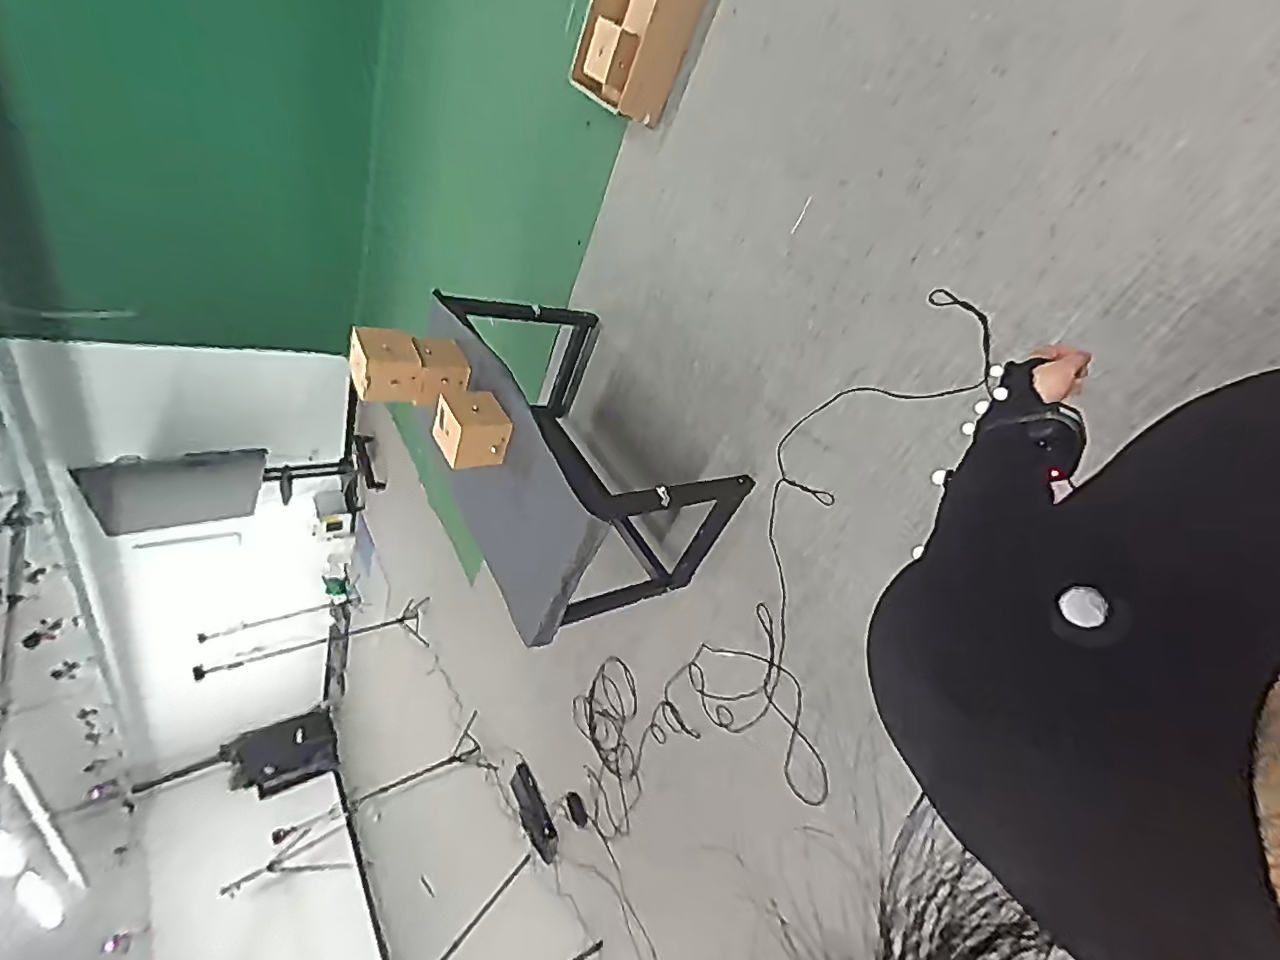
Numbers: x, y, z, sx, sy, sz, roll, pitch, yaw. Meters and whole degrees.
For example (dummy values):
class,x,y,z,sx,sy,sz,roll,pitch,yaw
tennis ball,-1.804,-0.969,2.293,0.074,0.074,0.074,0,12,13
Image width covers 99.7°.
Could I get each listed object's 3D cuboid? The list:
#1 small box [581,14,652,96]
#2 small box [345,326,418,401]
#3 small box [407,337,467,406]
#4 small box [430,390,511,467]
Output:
class,x,y,z,sx,sy,sz,roll,pitch,yaw
small box,-0.085,-1.557,1.990,0.168,0.176,0.179,52,130,29
small box,-0.838,-0.379,1.755,0.179,0.176,0.168,56,133,26
small box,-0.715,-0.376,1.865,0.179,0.176,0.168,55,133,29
small box,-0.527,-0.162,1.679,0.179,0.176,0.168,51,132,29
